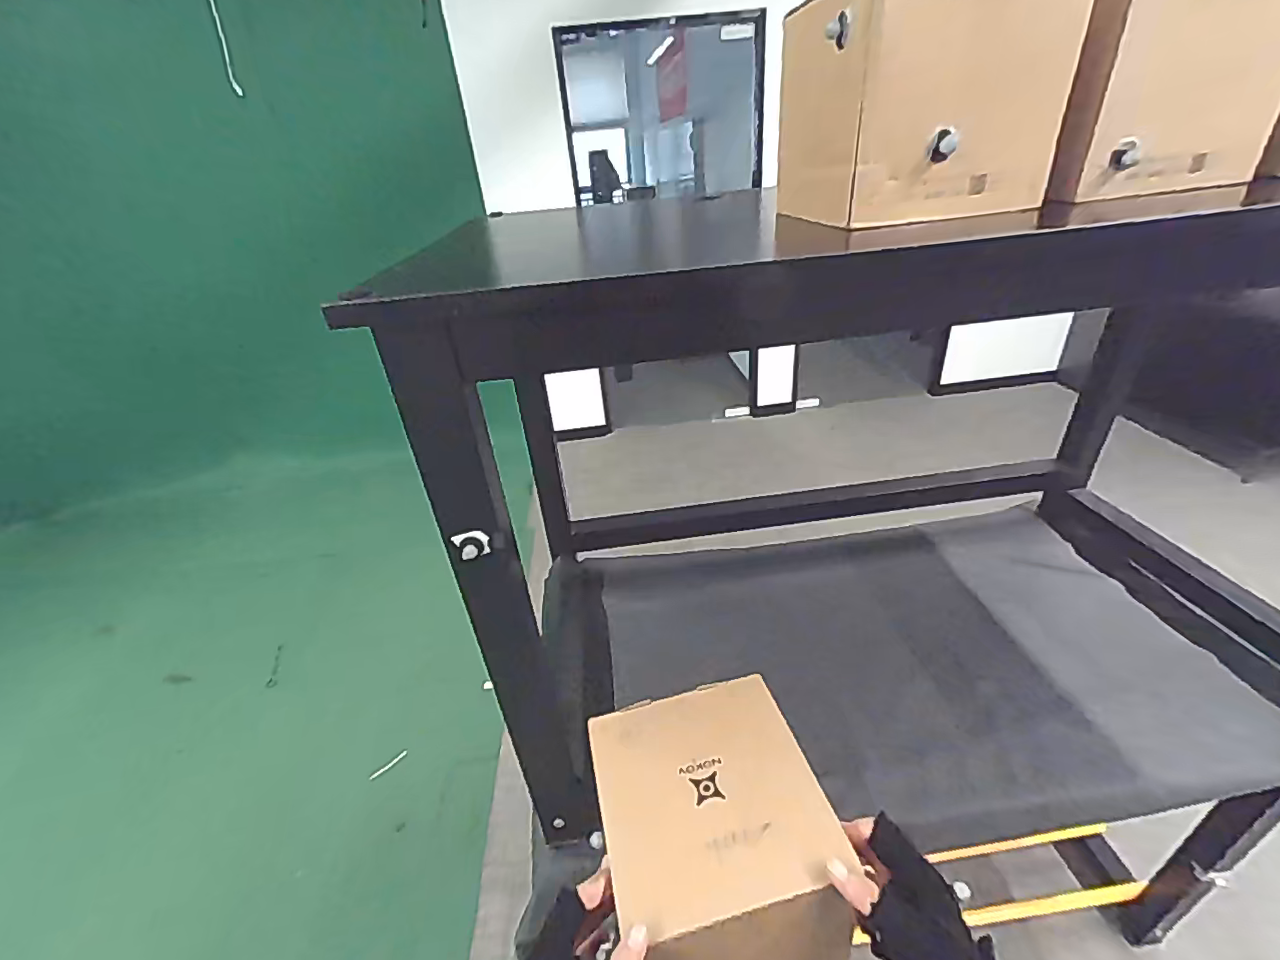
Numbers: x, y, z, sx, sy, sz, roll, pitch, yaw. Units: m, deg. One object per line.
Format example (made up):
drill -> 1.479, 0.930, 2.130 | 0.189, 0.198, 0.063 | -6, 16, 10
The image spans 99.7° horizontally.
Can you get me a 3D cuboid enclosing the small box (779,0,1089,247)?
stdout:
small box -> 0.231, -0.310, 0.481 | 0.168, 0.176, 0.179 | -8, 31, -4
